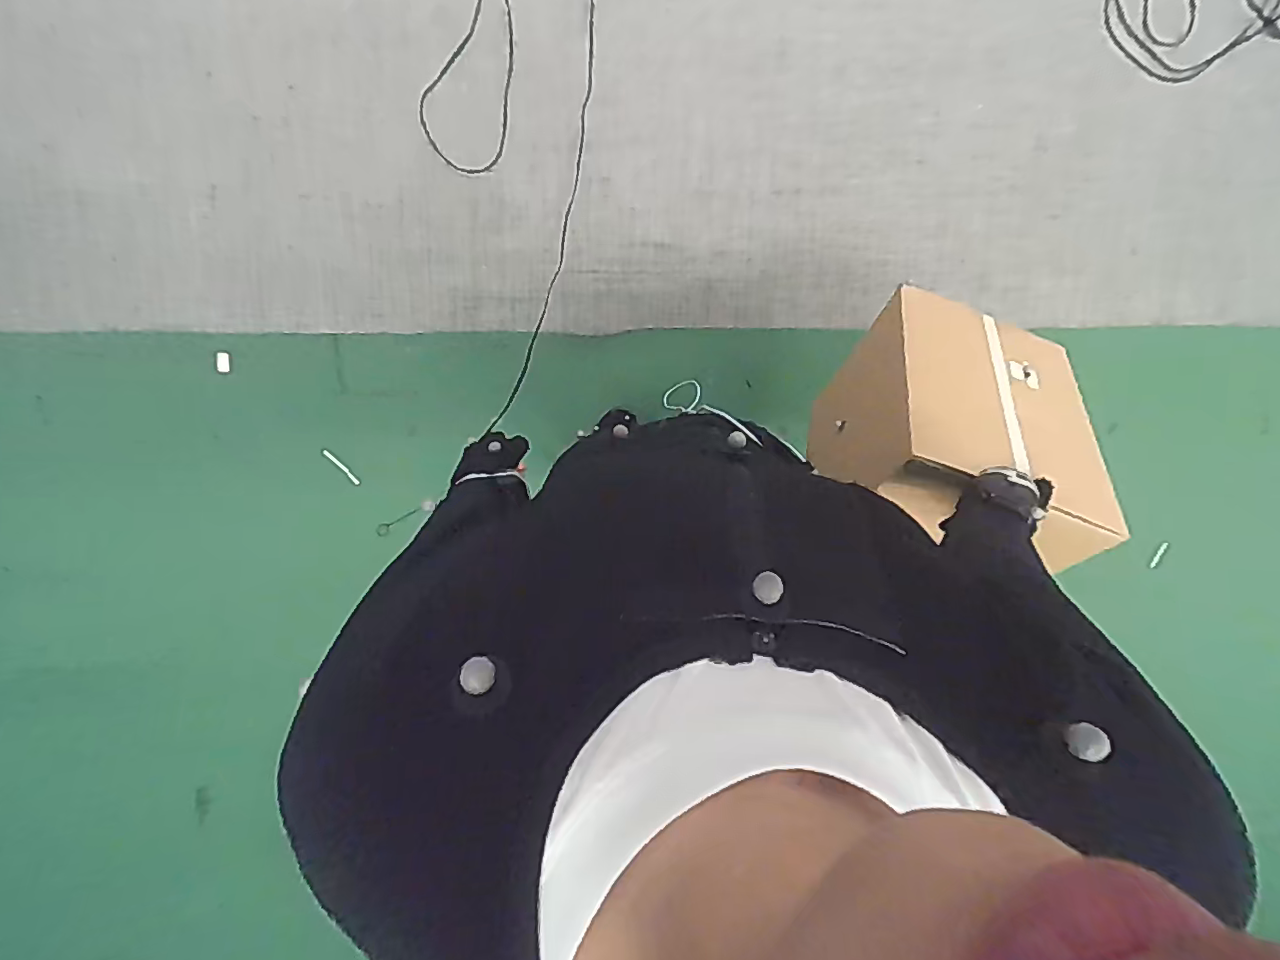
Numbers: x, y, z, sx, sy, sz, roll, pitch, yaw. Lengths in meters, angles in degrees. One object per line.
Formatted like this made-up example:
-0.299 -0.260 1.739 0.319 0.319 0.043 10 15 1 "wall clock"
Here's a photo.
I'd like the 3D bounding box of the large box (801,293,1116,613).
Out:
0.499 -0.041 0.943 0.320 0.320 0.408 21 53 -3 "large box"
